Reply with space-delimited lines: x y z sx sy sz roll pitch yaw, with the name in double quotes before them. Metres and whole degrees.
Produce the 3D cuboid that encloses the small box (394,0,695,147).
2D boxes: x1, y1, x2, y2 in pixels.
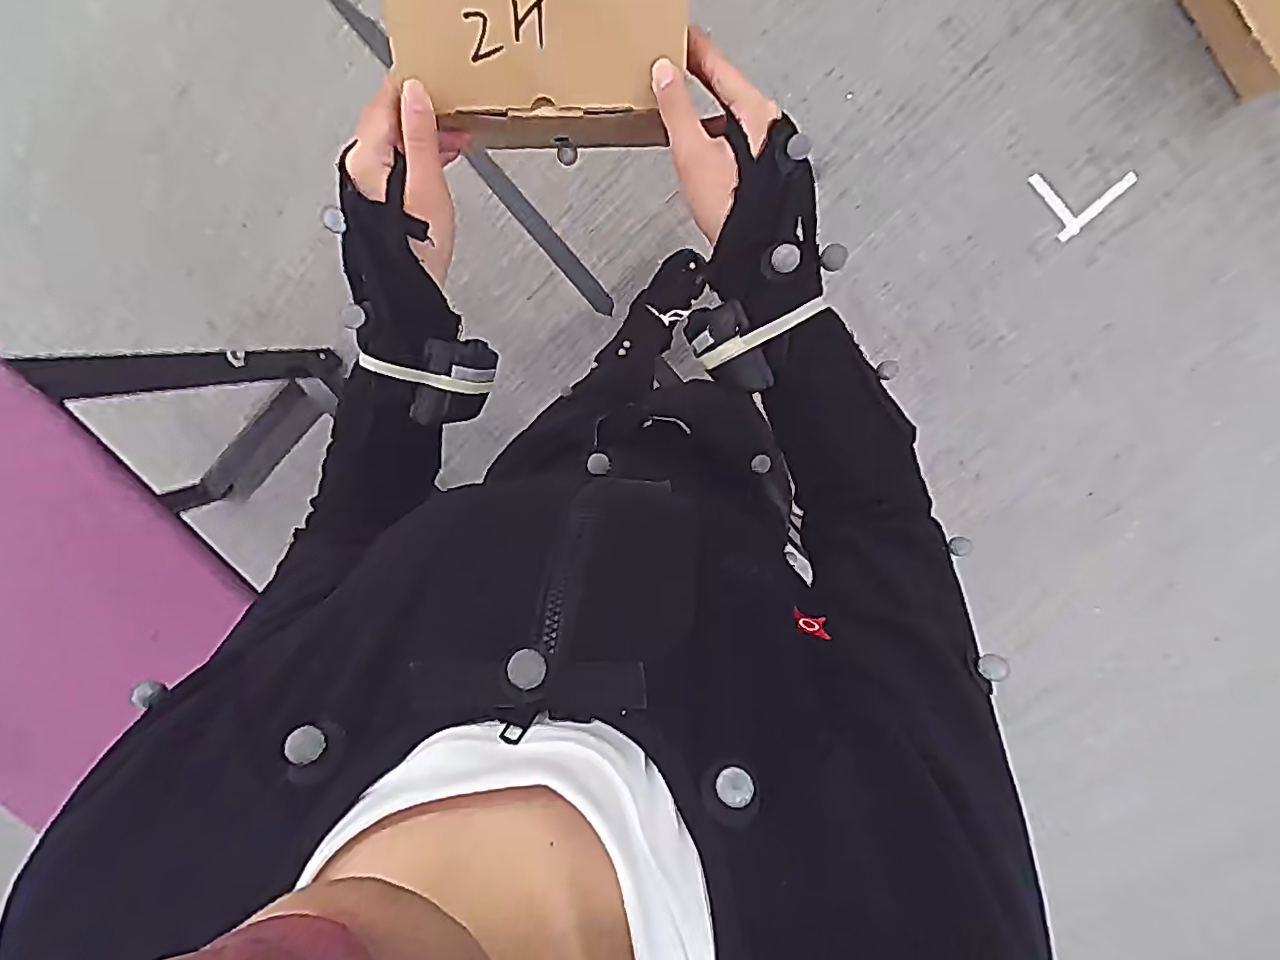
"small box" -0.052 -0.331 0.349 0.168 0.176 0.179 0 115 0
